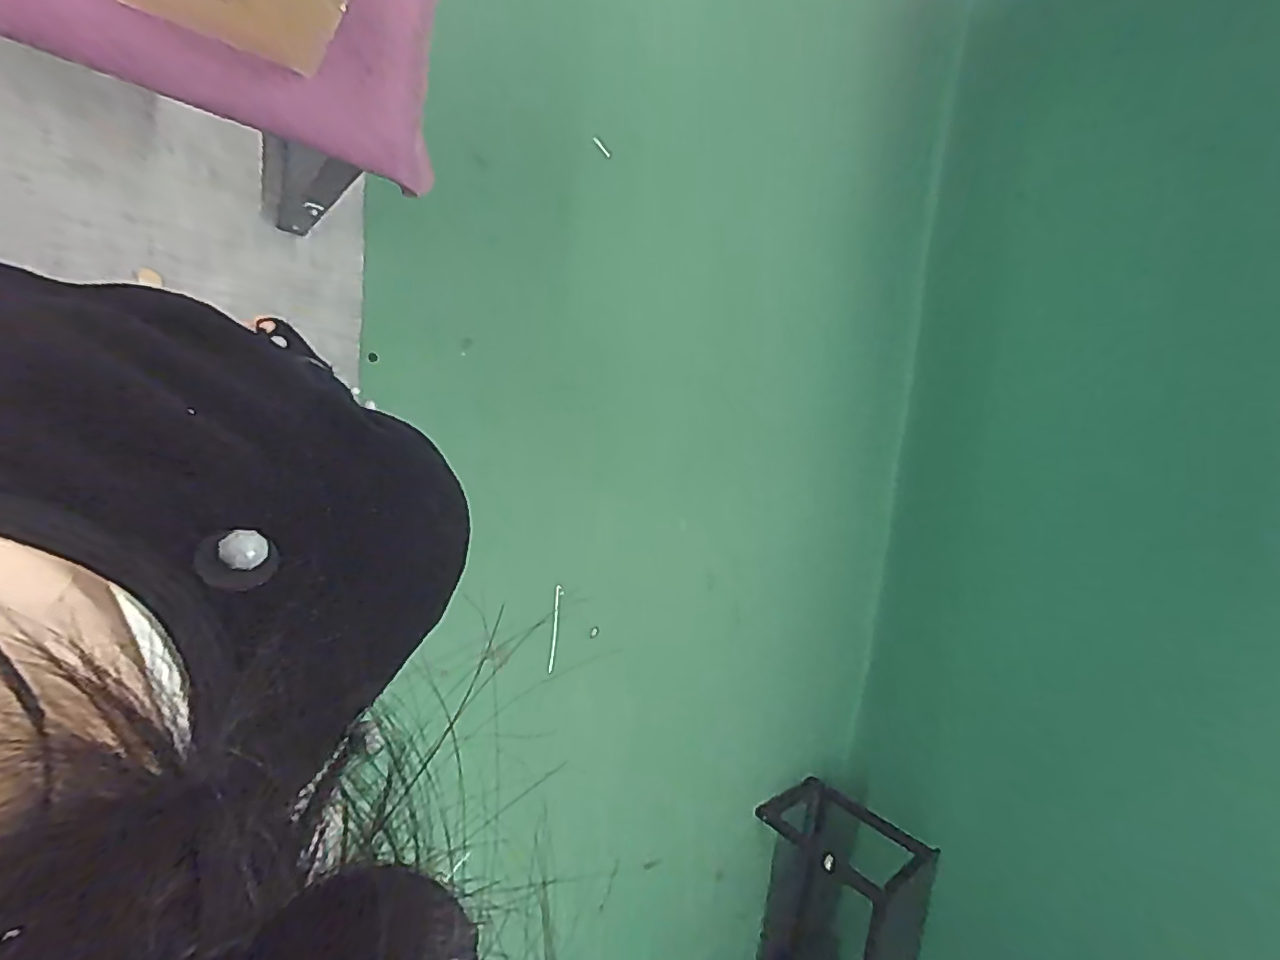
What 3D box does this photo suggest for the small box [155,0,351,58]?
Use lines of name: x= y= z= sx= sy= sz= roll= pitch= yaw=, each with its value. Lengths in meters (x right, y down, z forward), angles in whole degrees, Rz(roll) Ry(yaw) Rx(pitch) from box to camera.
small box: x=-0.390 y=-0.556 z=0.522 sx=0.179 sy=0.176 sz=0.168 roll=0 pitch=100 yaw=-38
